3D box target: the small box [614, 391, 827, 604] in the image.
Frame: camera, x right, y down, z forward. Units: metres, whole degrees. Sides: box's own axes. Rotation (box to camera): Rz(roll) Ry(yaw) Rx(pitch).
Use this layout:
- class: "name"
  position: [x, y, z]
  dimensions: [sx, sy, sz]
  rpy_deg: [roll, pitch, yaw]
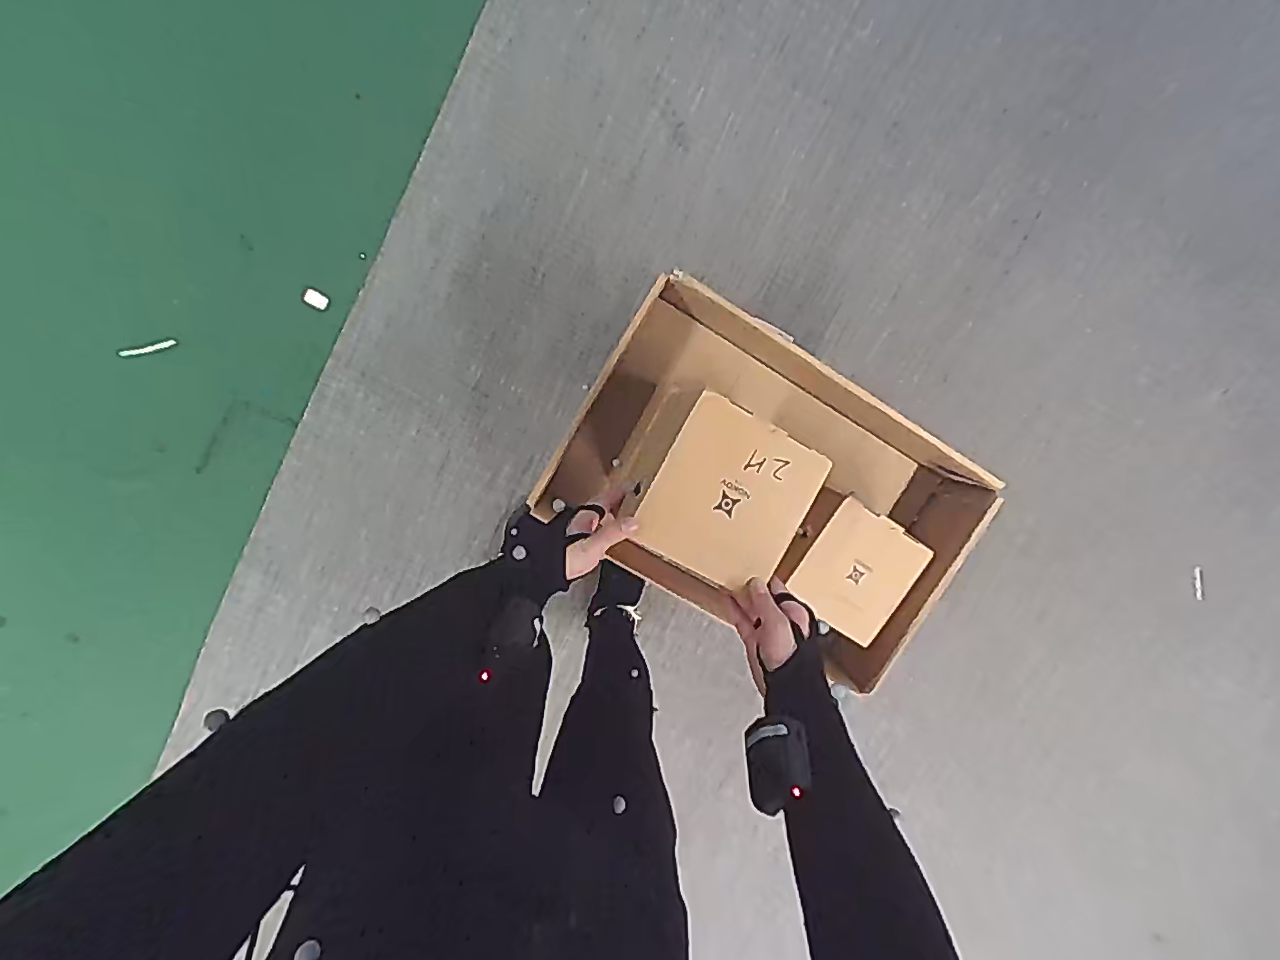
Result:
- class: "small box"
  position: [0.080, 0.014, 0.642]
  dimensions: [0.168, 0.176, 0.179]
  rpy_deg: [29, 91, -11]
